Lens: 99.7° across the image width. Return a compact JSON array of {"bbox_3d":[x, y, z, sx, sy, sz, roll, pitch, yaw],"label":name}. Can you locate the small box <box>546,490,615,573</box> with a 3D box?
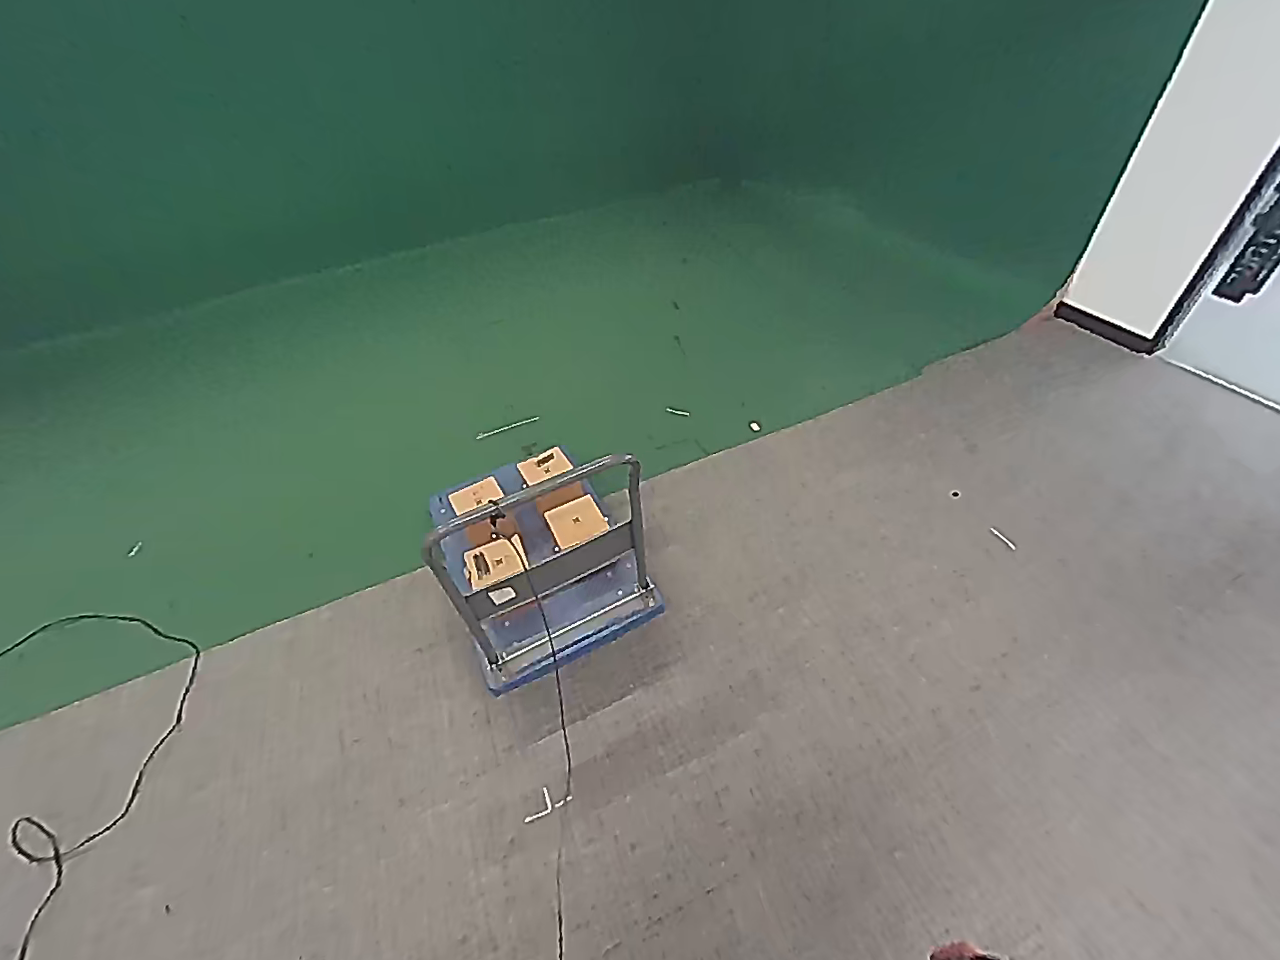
[{"bbox_3d":[-0.192,0.170,1.769,0.168,0.176,0.179,-22,49,-14],"label":"small box"}]

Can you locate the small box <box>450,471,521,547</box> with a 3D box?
[{"bbox_3d":[-0.528,0.108,1.866,0.168,0.176,0.179,-25,49,-18],"label":"small box"}]

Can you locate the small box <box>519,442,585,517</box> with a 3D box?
[{"bbox_3d":[-0.312,0.001,1.941,0.168,0.176,0.179,-27,51,-17],"label":"small box"}]
